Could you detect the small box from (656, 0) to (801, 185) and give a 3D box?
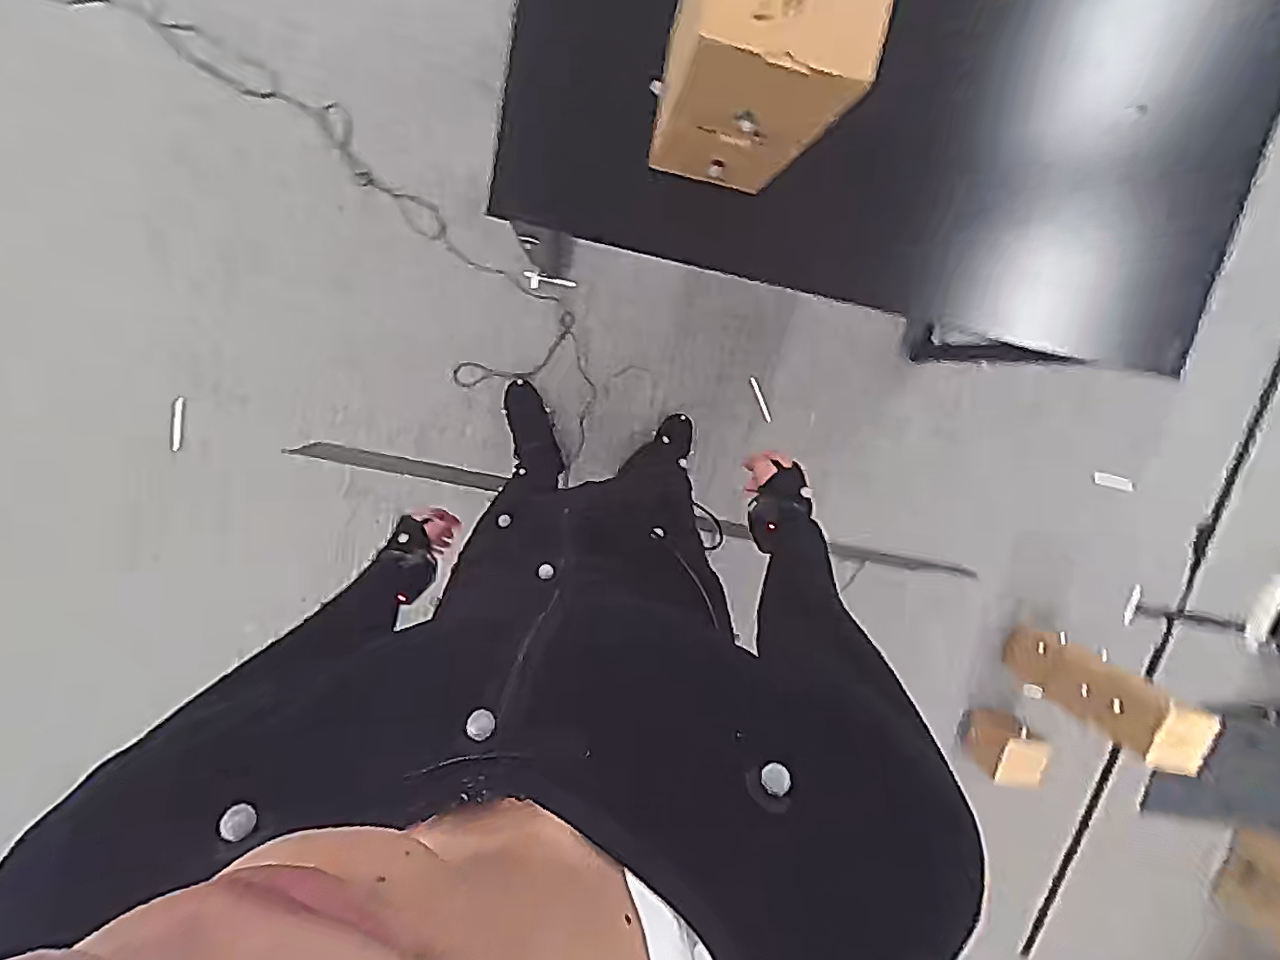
[{"bbox_3d":[0.119,-0.506,0.696,0.168,0.176,0.179,8,102,-8],"label":"small box"}]

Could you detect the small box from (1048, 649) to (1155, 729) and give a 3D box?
[{"bbox_3d":[1.432,0.652,1.689,0.168,0.176,0.179,10,103,-9],"label":"small box"}]

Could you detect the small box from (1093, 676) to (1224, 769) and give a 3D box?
[{"bbox_3d":[1.458,0.681,1.531,0.179,0.176,0.168,12,102,-9],"label":"small box"}]

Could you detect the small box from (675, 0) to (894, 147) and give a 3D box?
[{"bbox_3d":[0.138,-0.471,0.535,0.168,0.176,0.179,9,102,-8],"label":"small box"}]

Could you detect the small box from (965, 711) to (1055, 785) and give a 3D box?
[{"bbox_3d":[1.303,0.944,1.915,0.179,0.176,0.168,9,101,-7],"label":"small box"}]
